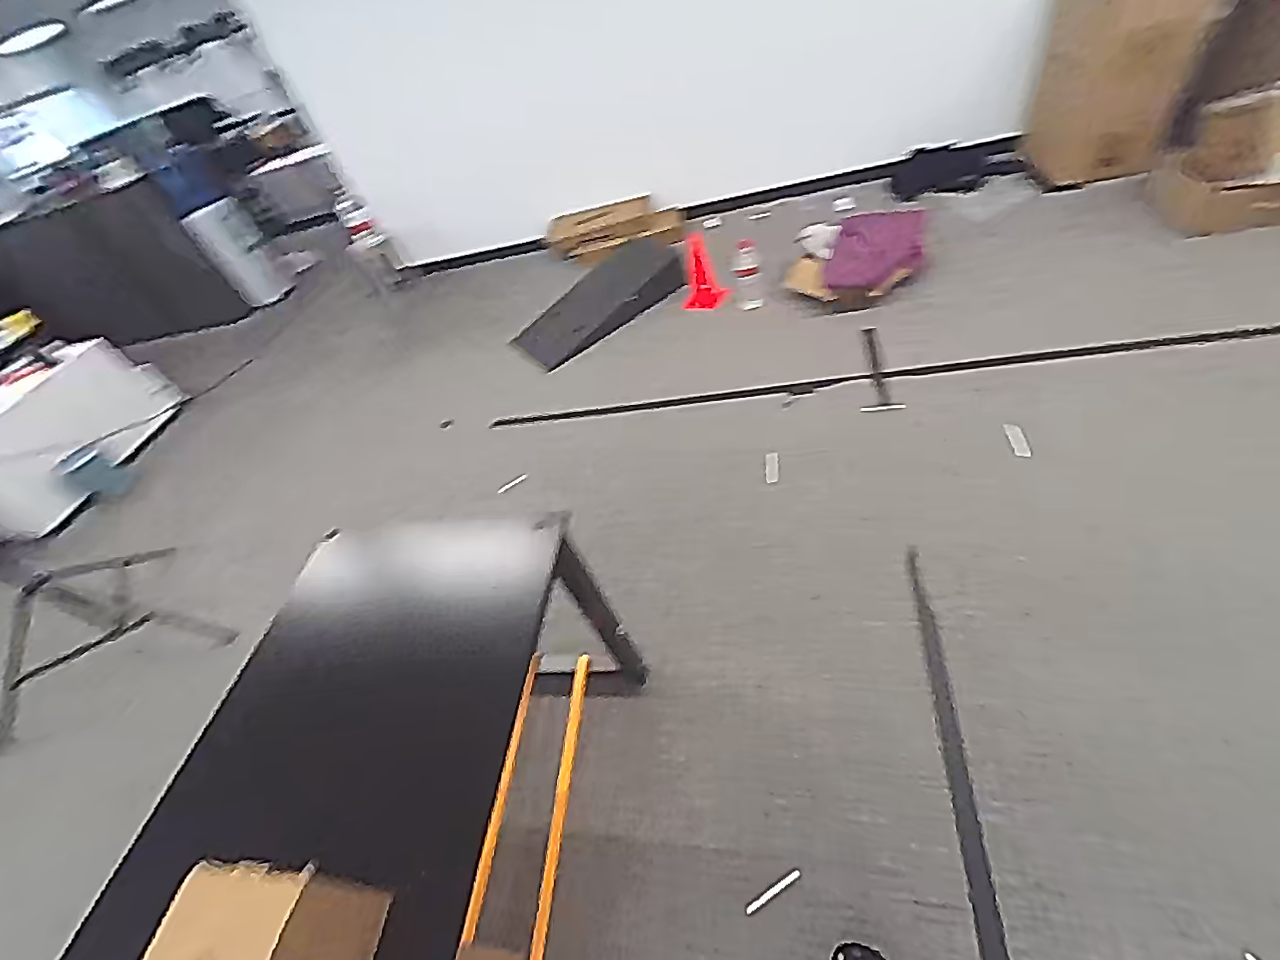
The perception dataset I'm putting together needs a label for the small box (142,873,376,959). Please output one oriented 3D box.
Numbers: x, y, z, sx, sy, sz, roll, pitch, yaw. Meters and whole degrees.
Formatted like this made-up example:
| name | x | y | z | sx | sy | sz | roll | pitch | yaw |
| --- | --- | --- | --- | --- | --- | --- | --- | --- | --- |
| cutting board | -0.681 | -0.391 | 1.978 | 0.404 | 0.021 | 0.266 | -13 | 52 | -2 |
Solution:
| name | x | y | z | sx | sy | sz | roll | pitch | yaw |
| --- | --- | --- | --- | --- | --- | --- | --- | --- | --- |
| small box | -0.432 | 0.567 | 0.604 | 0.168 | 0.176 | 0.179 | -6 | 46 | 15 |
